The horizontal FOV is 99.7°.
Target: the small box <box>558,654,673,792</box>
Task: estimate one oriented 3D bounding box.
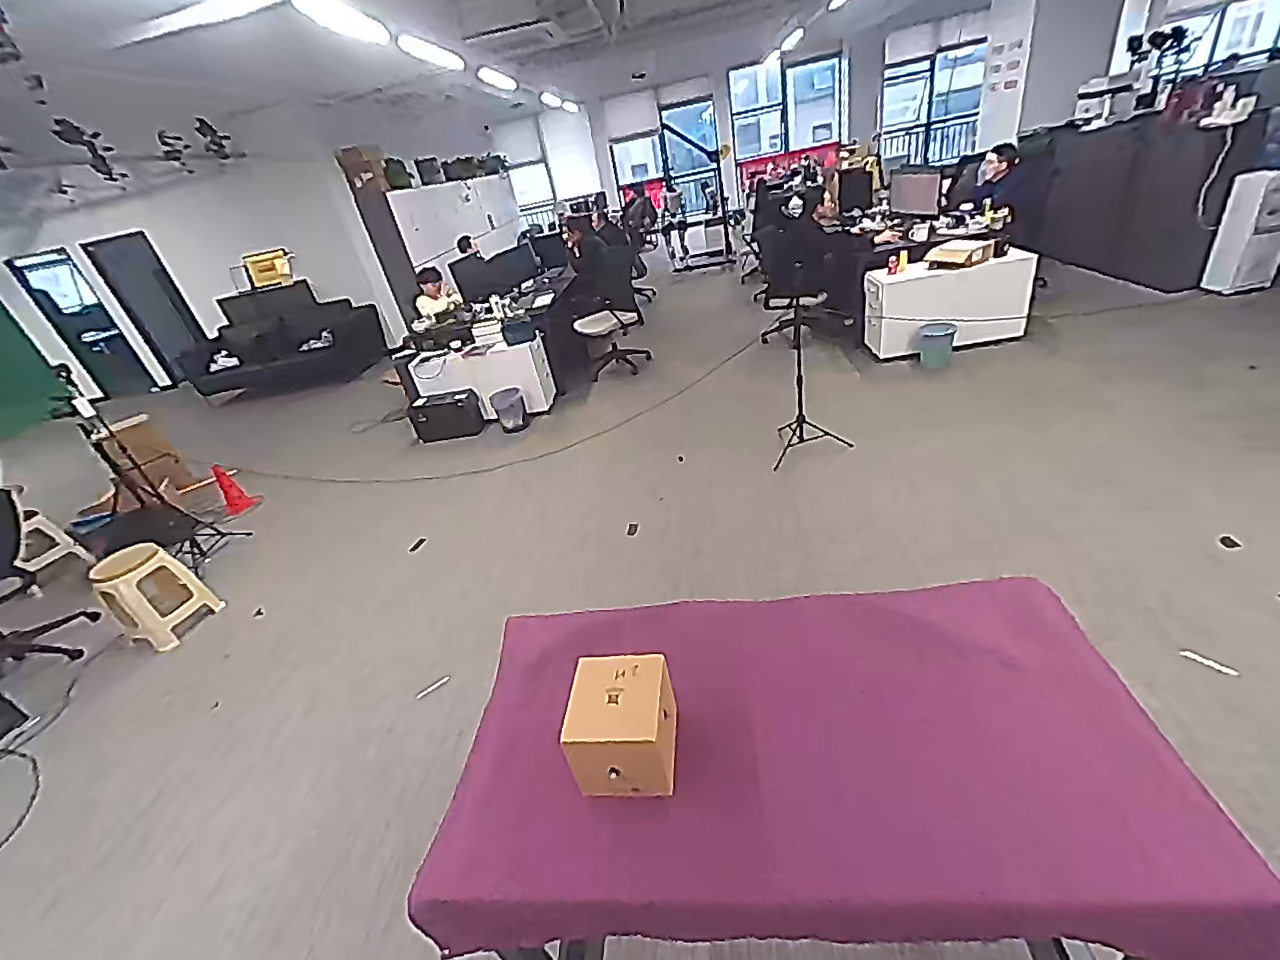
[{"bbox_3d":[-0.034,0.447,0.994,0.168,0.176,0.179,-5,31,11],"label":"small box"}]
